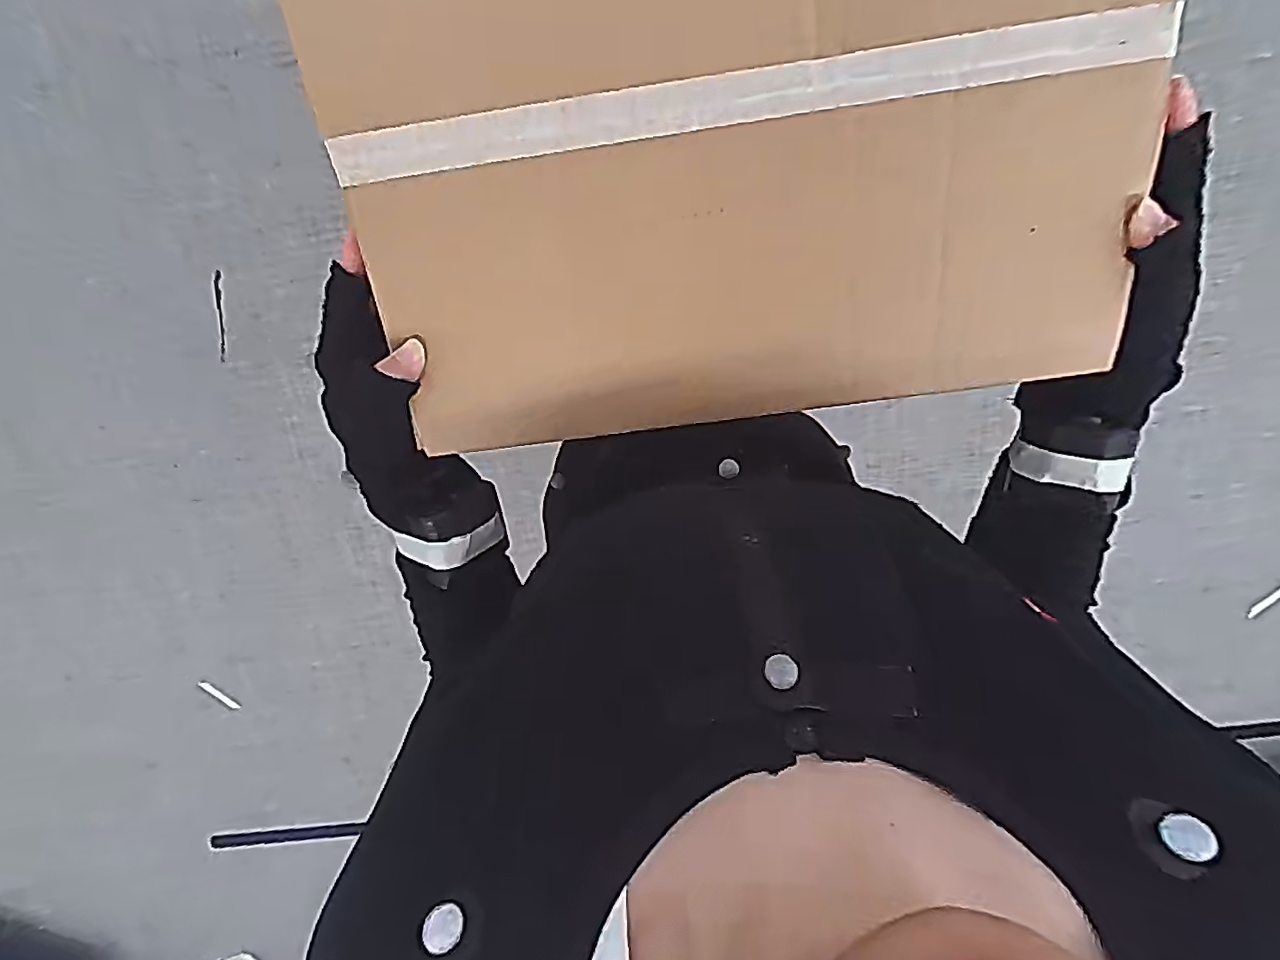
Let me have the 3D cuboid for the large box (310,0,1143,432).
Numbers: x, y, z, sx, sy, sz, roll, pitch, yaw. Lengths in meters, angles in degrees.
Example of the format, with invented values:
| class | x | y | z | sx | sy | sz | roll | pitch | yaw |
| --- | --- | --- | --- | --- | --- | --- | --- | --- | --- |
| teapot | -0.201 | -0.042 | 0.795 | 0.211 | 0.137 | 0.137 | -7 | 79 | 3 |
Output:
| class | x | y | z | sx | sy | sz | roll | pitch | yaw |
| --- | --- | --- | --- | --- | --- | --- | --- | --- | --- |
| large box | 0.044 | -0.249 | 0.413 | 0.408 | 0.320 | 0.320 | -7 | 112 | 3 |
